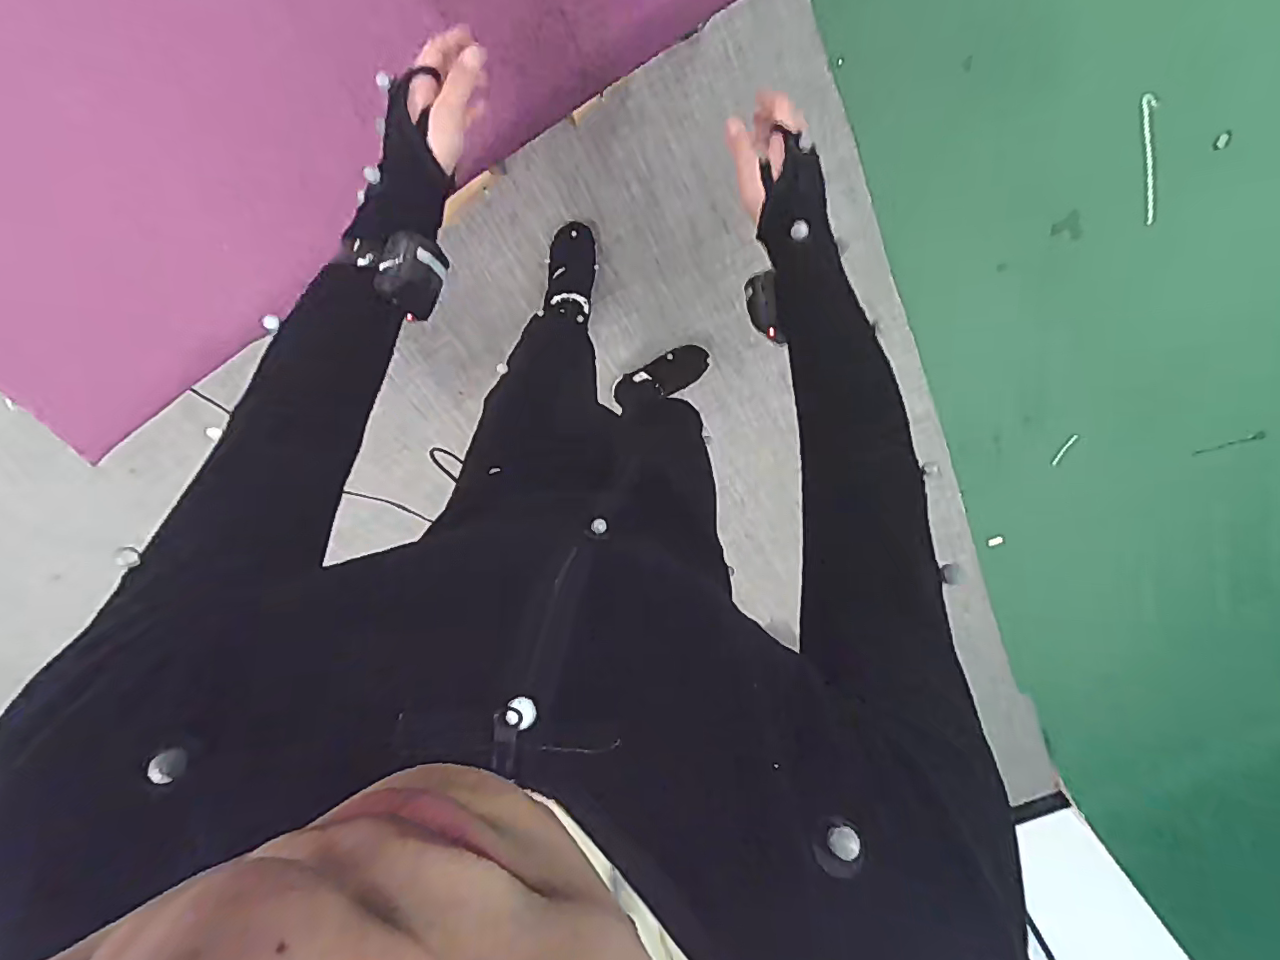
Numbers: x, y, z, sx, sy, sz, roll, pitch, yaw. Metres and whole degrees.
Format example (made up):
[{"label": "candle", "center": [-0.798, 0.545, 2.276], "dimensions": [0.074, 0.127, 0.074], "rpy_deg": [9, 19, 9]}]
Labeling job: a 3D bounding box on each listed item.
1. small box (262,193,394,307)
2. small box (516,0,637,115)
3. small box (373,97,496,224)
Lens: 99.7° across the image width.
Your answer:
[{"label": "small box", "center": [-0.705, -0.536, 1.247], "dimensions": [0.168, 0.176, 0.179], "rpy_deg": [-36, 116, 15]}, {"label": "small box", "center": [-0.125, -0.883, 1.099], "dimensions": [0.168, 0.176, 0.179], "rpy_deg": [-35, 116, 14]}, {"label": "small box", "center": [-0.436, -0.692, 1.182], "dimensions": [0.179, 0.176, 0.168], "rpy_deg": [-34, 115, 15]}]
